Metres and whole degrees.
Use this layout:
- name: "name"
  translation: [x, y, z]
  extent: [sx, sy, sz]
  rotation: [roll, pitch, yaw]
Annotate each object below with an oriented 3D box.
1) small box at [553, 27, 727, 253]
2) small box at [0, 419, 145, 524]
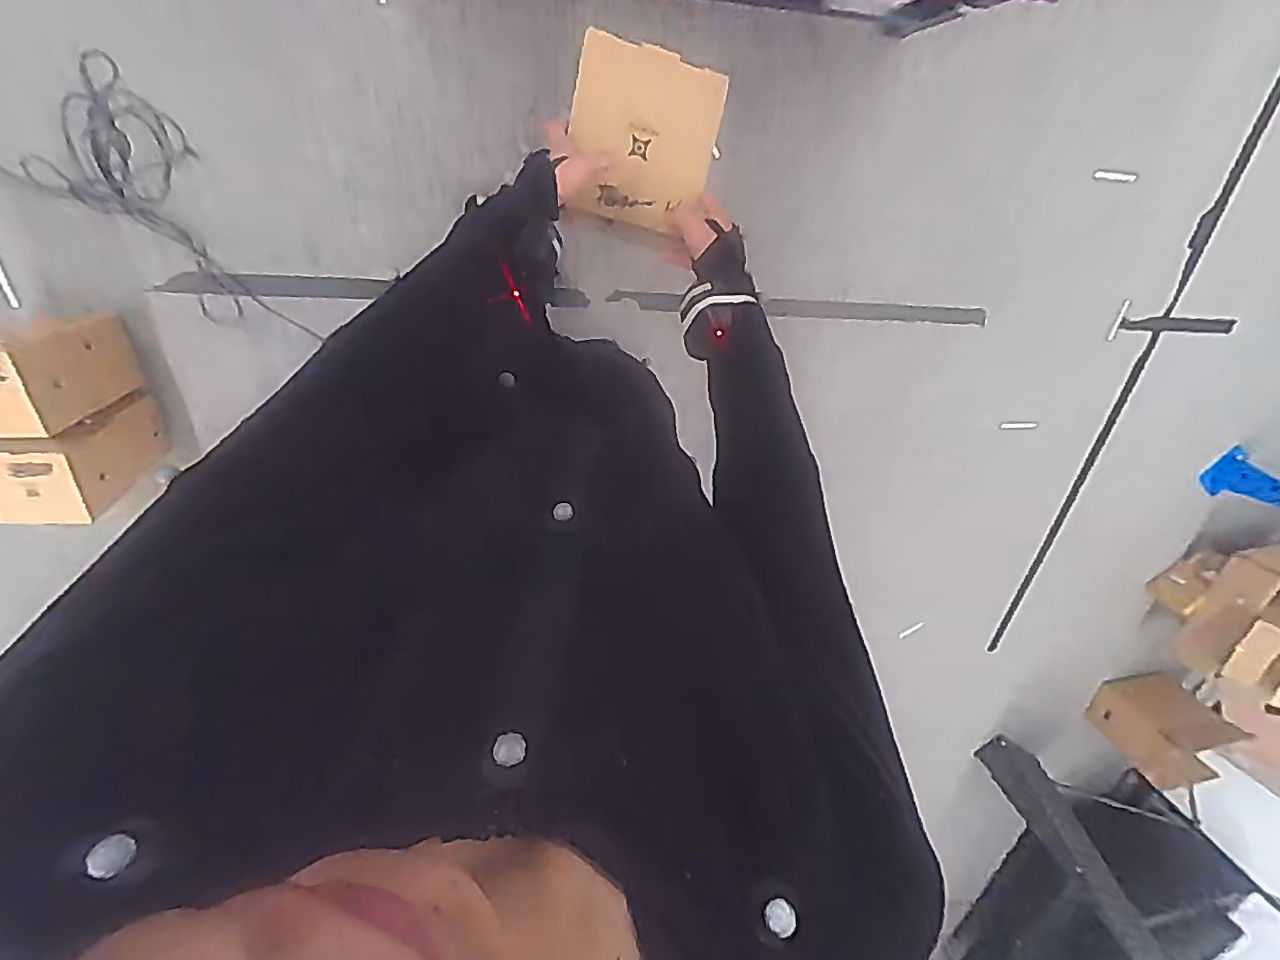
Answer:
- name: "small box"
  translation: [-0.012, -0.399, 0.674]
  extent: [0.168, 0.176, 0.179]
  rotation: [11, 106, -11]
- name: "small box"
  translation: [-1.262, -0.022, 1.198]
  extent: [0.168, 0.176, 0.179]
  rotation: [2, 121, -13]
